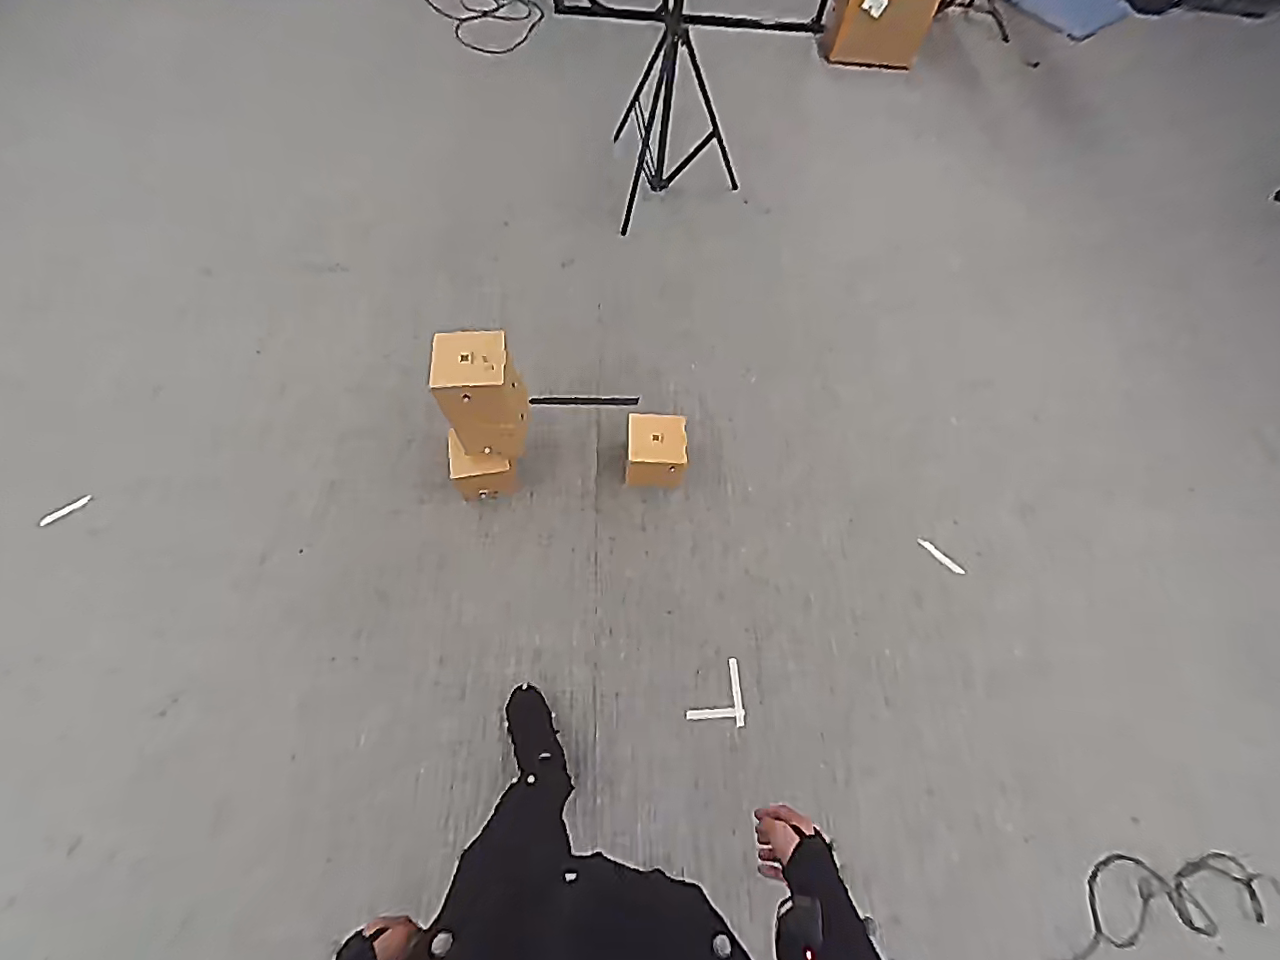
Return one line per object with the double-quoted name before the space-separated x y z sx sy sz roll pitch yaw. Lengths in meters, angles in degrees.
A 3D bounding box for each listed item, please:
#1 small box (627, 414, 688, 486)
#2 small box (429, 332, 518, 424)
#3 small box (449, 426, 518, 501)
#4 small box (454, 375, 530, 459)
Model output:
"small box" 0.049 -0.089 1.681 0.179 0.176 0.168 2 64 -4
"small box" -0.411 -0.252 1.360 0.179 0.176 0.168 -3 64 -5
"small box" -0.467 -0.056 1.626 0.168 0.176 0.179 -9 66 -8
"small box" -0.405 -0.180 1.508 0.168 0.176 0.179 4 64 -1
